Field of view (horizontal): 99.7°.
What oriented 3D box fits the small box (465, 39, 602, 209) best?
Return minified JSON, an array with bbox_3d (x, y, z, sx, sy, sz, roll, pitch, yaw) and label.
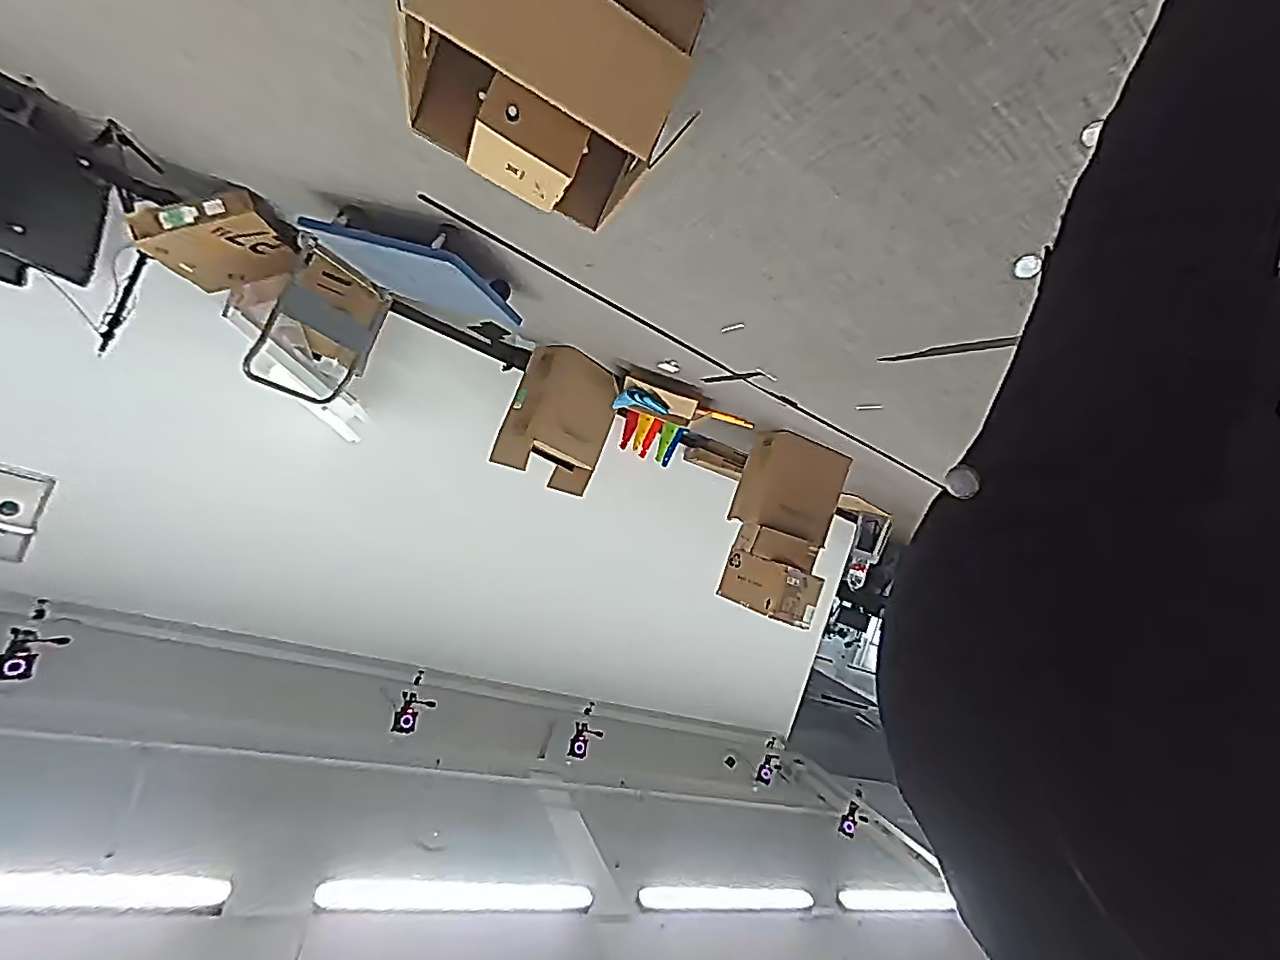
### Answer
[{"bbox_3d":[-0.196,-0.642,0.983,0.179,0.176,0.168,22,177,-24],"label":"small box"}]
